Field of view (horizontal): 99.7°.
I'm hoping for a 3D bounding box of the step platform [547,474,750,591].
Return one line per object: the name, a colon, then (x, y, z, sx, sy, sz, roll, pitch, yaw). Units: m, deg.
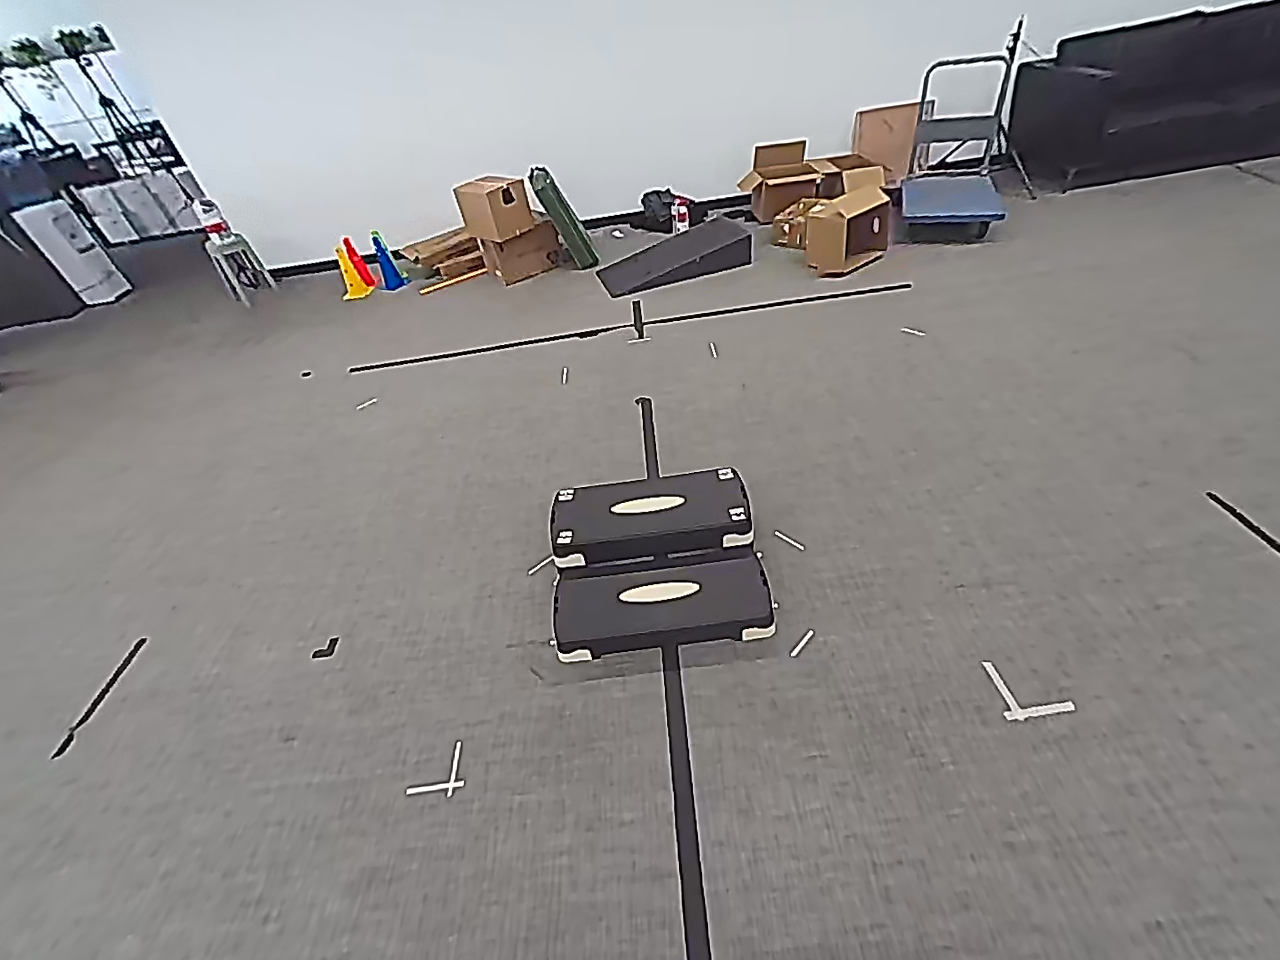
step platform: (0.026, 0.173, 1.853, 0.684, 0.204, 0.286, -8, 42, 1)
